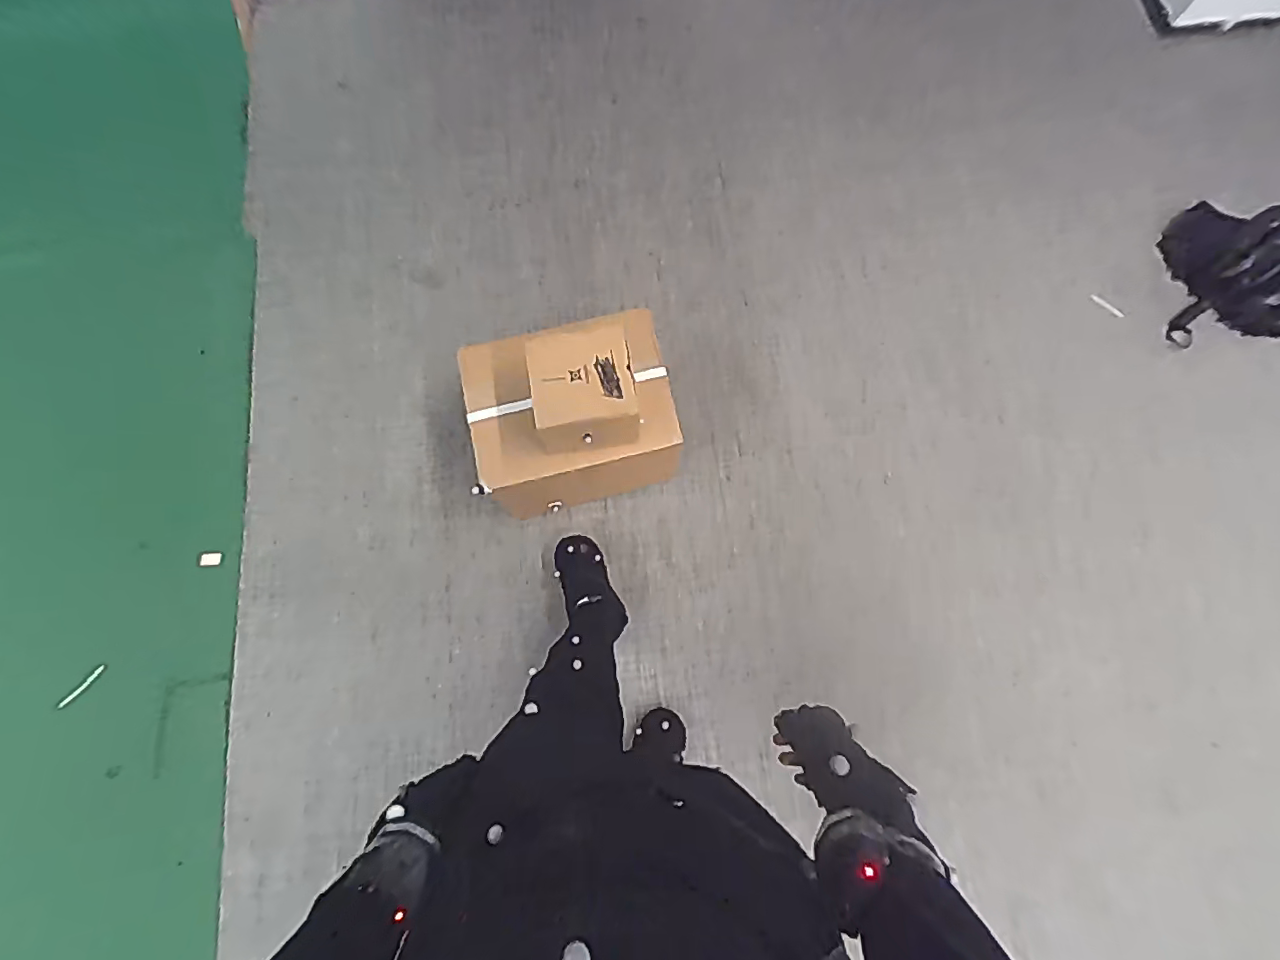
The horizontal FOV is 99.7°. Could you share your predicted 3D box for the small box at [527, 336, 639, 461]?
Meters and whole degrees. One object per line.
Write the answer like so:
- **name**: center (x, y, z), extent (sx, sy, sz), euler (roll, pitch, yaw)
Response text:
- **small box**: center (-0.100, -0.144, 1.003), extent (0.179, 0.176, 0.168), euler (-10, 76, -1)
